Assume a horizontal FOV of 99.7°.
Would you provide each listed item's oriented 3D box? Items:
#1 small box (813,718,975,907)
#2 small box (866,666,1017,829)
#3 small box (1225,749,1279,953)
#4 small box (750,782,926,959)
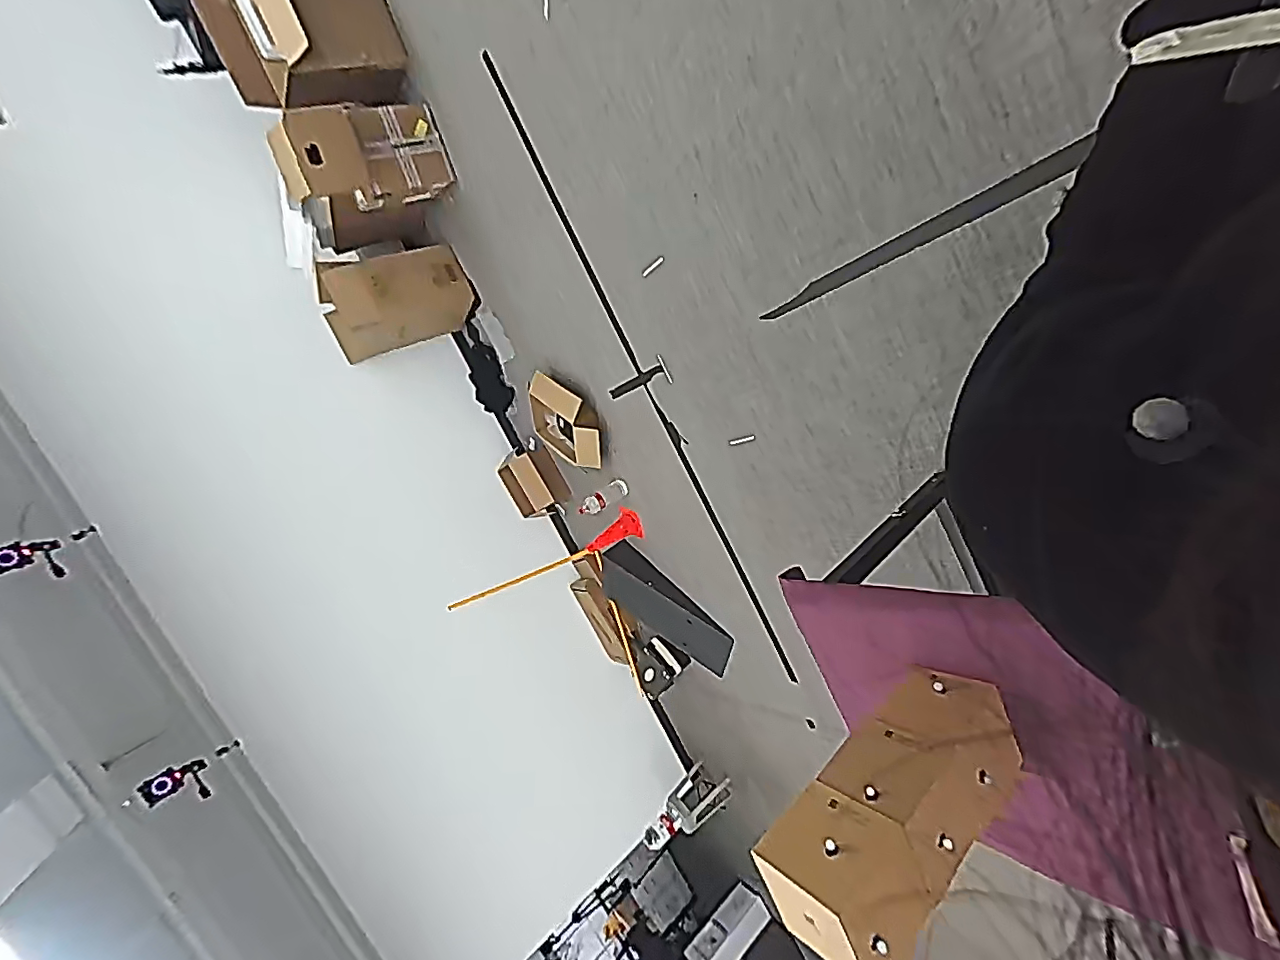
[{"bbox_3d":[0.435,0.551,0.920,0.168,0.176,0.179,-4,114,57],"label":"small box"},{"bbox_3d":[0.560,0.481,1.000,0.168,0.176,0.179,-7,110,58],"label":"small box"},{"bbox_3d":[0.795,0.429,0.588,0.179,0.176,0.168,-6,112,58],"label":"small box"},{"bbox_3d":[0.309,0.618,0.840,0.168,0.176,0.179,-4,113,57],"label":"small box"}]
